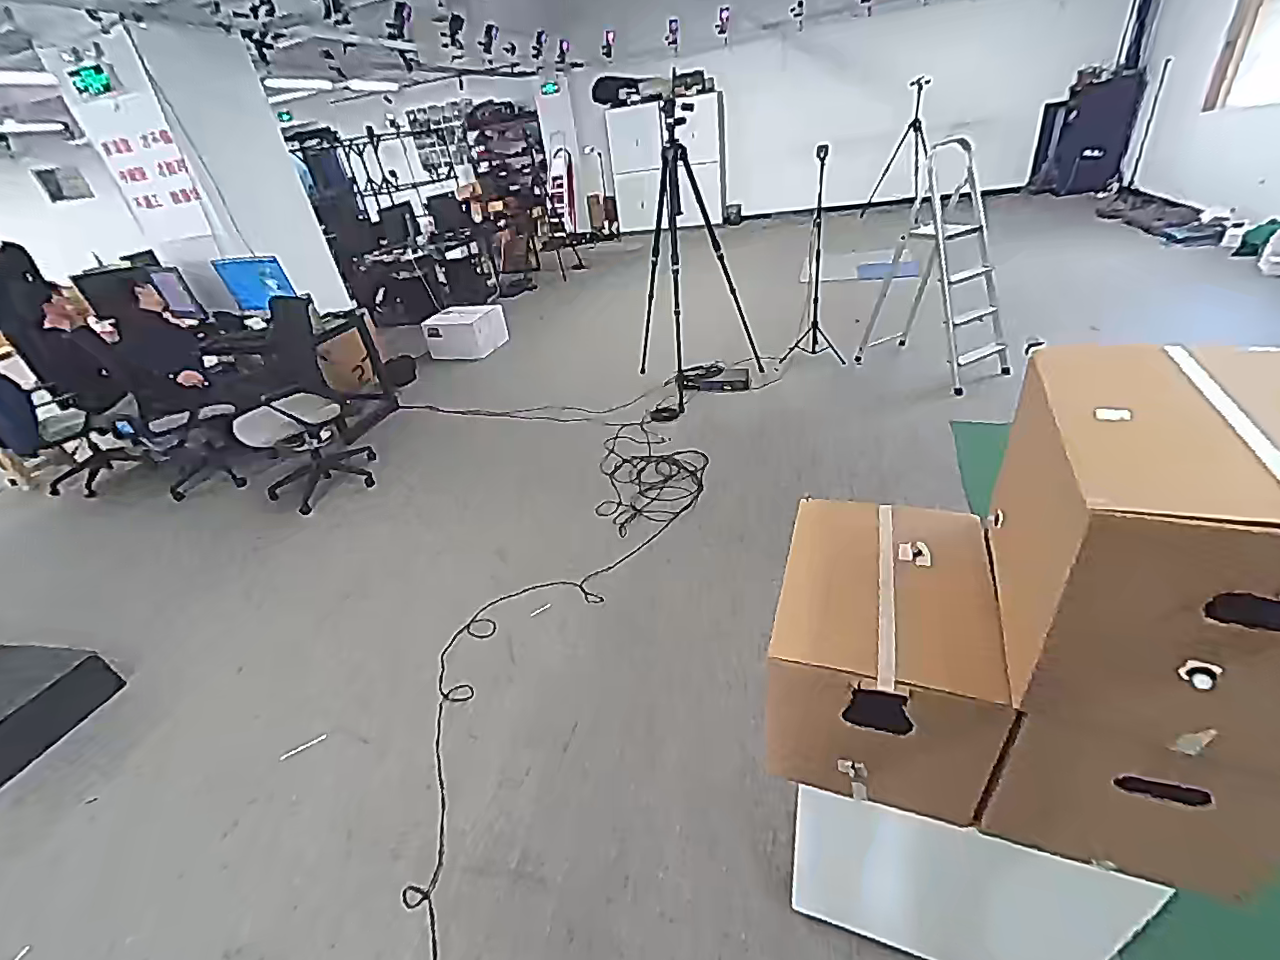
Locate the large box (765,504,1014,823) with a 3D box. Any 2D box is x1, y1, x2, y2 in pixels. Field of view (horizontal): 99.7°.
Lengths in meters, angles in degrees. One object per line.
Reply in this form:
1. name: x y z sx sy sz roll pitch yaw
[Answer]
1. large box: 0.408 0.289 0.949 0.320 0.320 0.408 5 34 21
